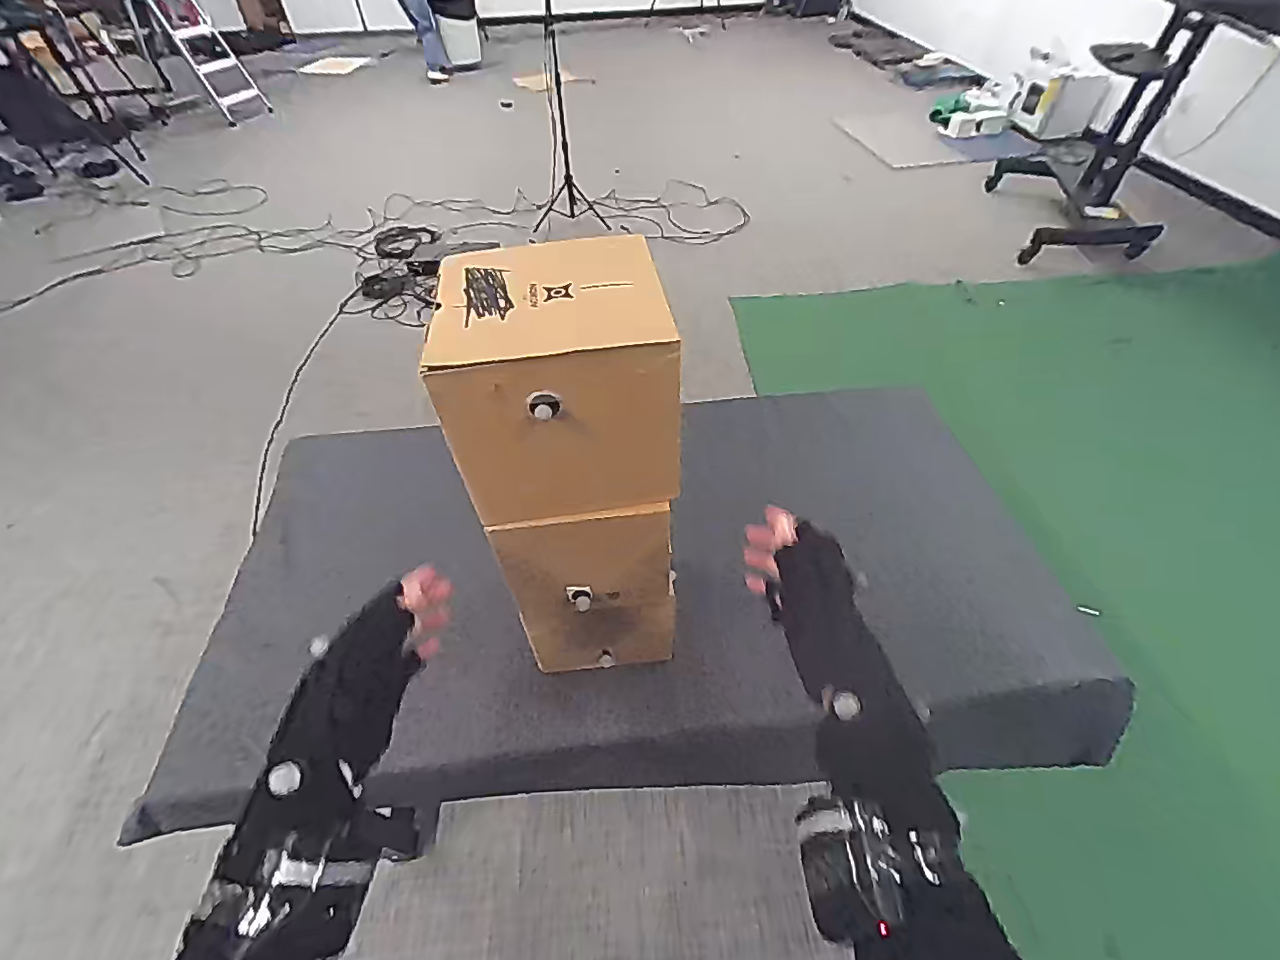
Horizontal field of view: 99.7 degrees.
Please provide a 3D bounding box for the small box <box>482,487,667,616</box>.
[{"bbox_3d":[-0.063,0.025,0.592,0.168,0.176,0.179,-7,50,-1],"label":"small box"}]

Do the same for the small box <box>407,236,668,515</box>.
[{"bbox_3d":[-0.074,-0.086,0.470,0.179,0.176,0.168,-8,49,-3],"label":"small box"}]

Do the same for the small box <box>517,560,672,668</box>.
[{"bbox_3d":[-0.057,0.131,0.714,0.179,0.176,0.168,-5,48,-3],"label":"small box"}]
